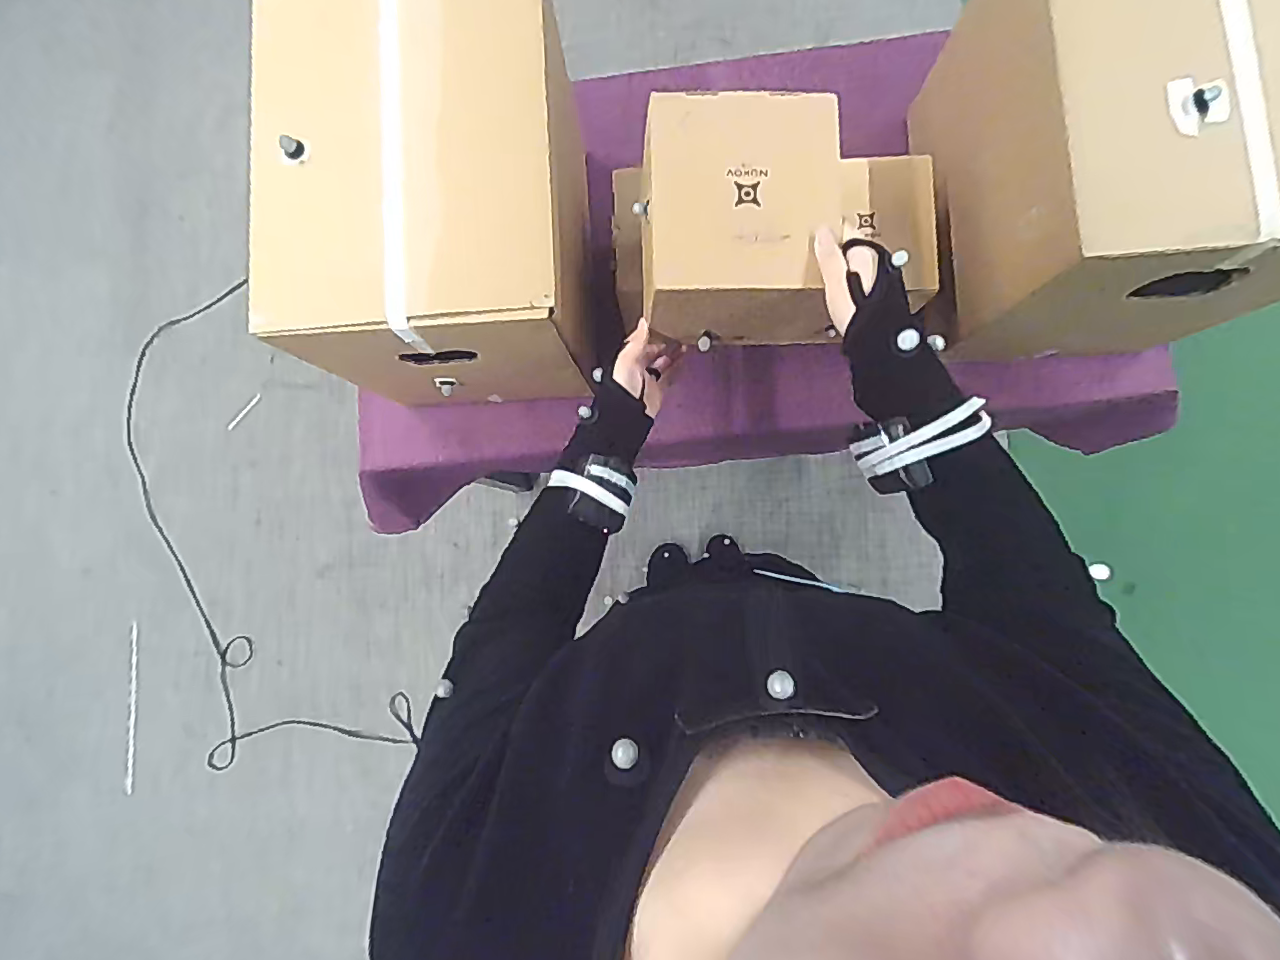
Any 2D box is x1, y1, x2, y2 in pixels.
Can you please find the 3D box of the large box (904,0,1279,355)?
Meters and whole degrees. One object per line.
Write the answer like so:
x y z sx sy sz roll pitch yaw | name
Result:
0.562 -0.399 0.668 0.320 0.320 0.408 -2 85 3 | large box
